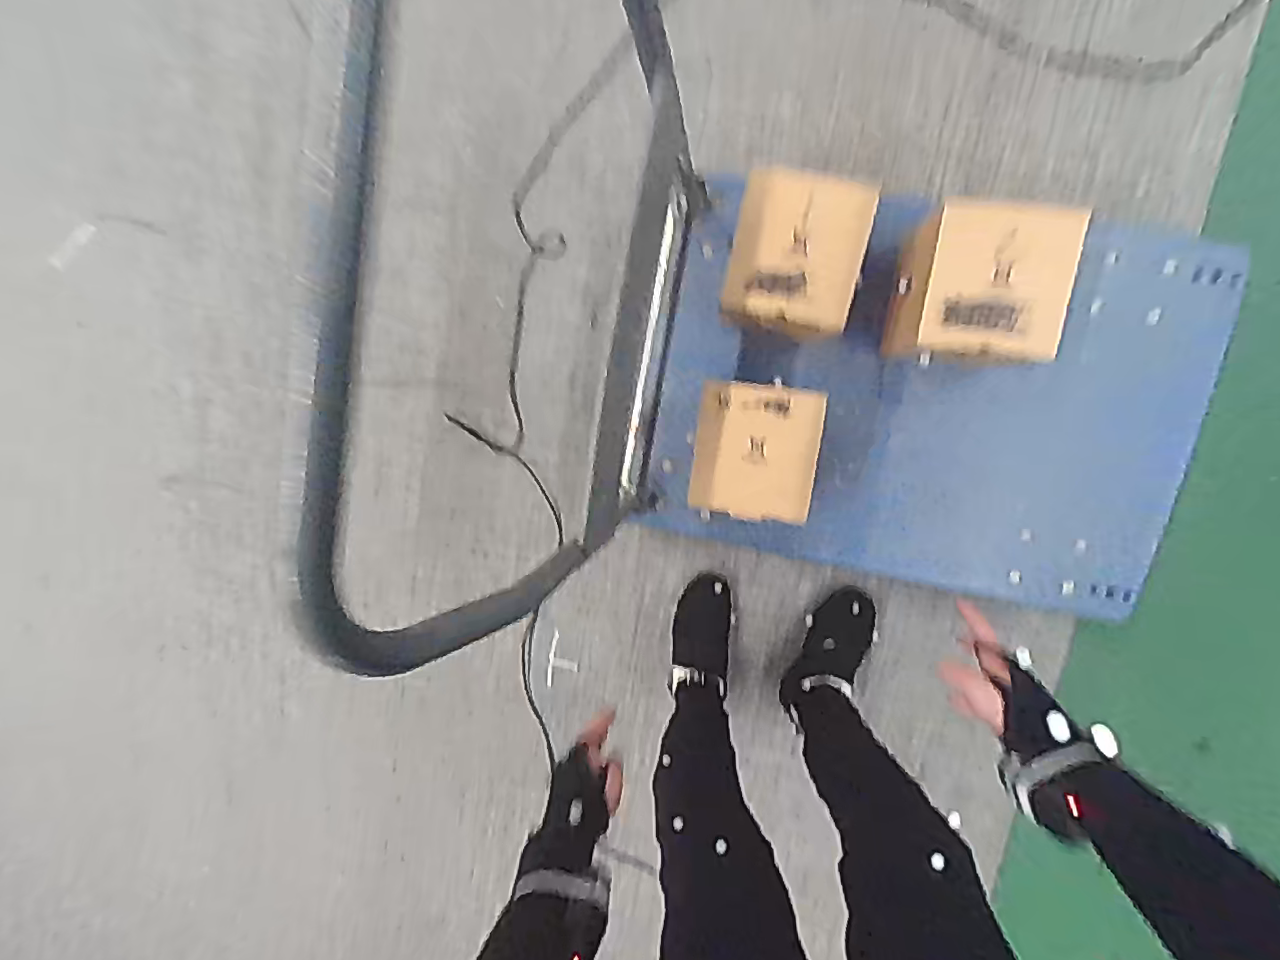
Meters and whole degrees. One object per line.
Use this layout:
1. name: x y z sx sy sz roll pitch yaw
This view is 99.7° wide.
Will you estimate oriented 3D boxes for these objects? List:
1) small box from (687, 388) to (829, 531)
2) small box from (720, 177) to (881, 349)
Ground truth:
1. small box: 0.169 -0.037 0.810 0.168 0.176 0.179 9 98 6
2. small box: 0.216 -0.294 0.772 0.168 0.176 0.179 14 98 6
